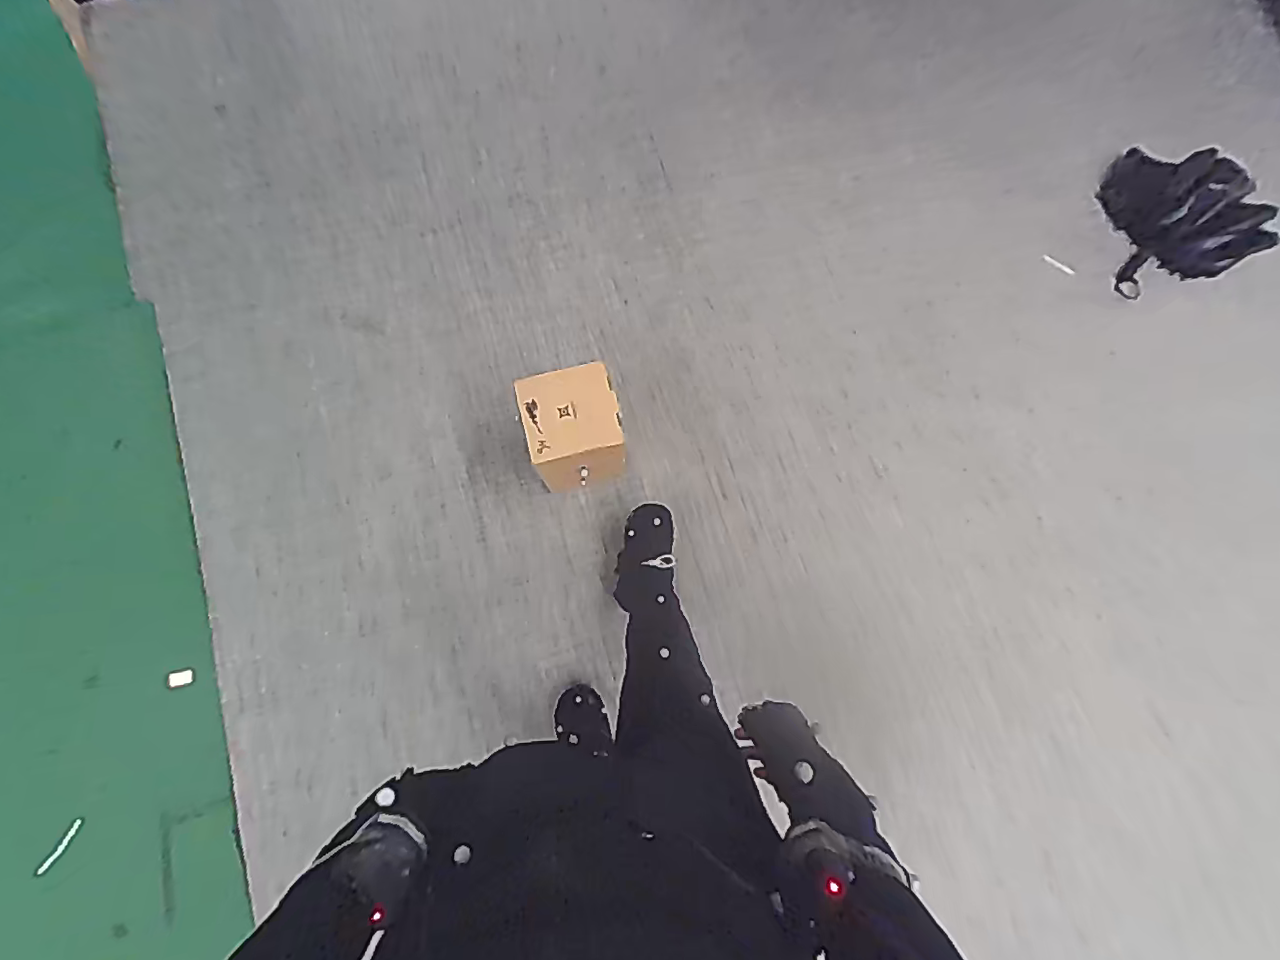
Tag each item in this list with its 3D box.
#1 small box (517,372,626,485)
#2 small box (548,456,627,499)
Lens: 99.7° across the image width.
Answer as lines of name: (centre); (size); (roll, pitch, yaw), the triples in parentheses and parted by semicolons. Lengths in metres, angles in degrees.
small box: (-0.135, -0.097, 1.085); (0.179, 0.176, 0.168); (-14, 80, -6)
small box: (-0.140, -0.065, 1.245); (0.179, 0.176, 0.168); (-18, 81, -7)
